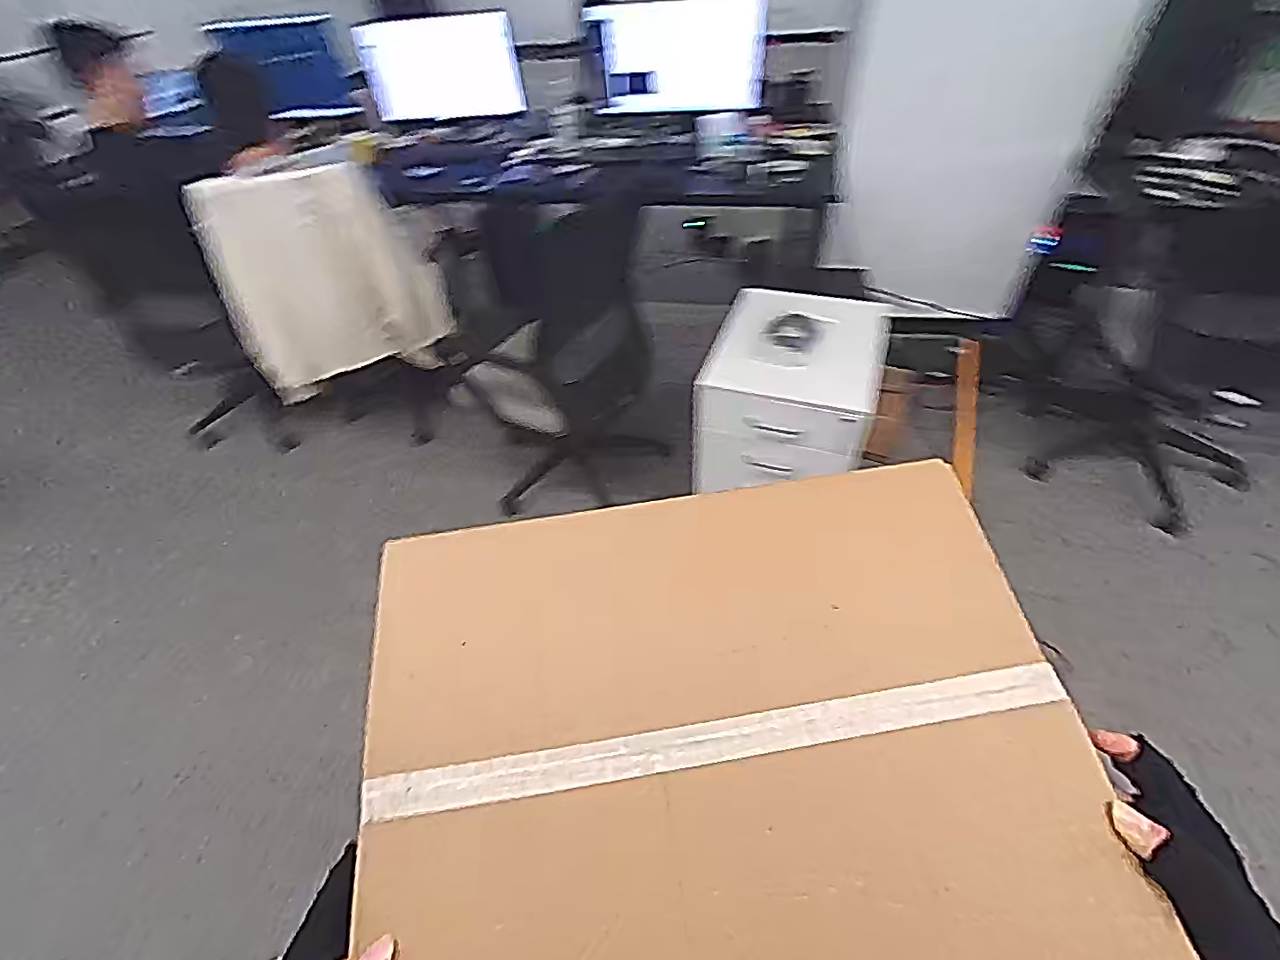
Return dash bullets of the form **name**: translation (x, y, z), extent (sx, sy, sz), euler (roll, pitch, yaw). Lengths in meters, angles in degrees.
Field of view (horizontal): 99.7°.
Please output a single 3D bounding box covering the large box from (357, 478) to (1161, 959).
- **large box**: translation (0.047, 0.233, 0.446), extent (0.408, 0.320, 0.320), euler (-10, 61, -3)
